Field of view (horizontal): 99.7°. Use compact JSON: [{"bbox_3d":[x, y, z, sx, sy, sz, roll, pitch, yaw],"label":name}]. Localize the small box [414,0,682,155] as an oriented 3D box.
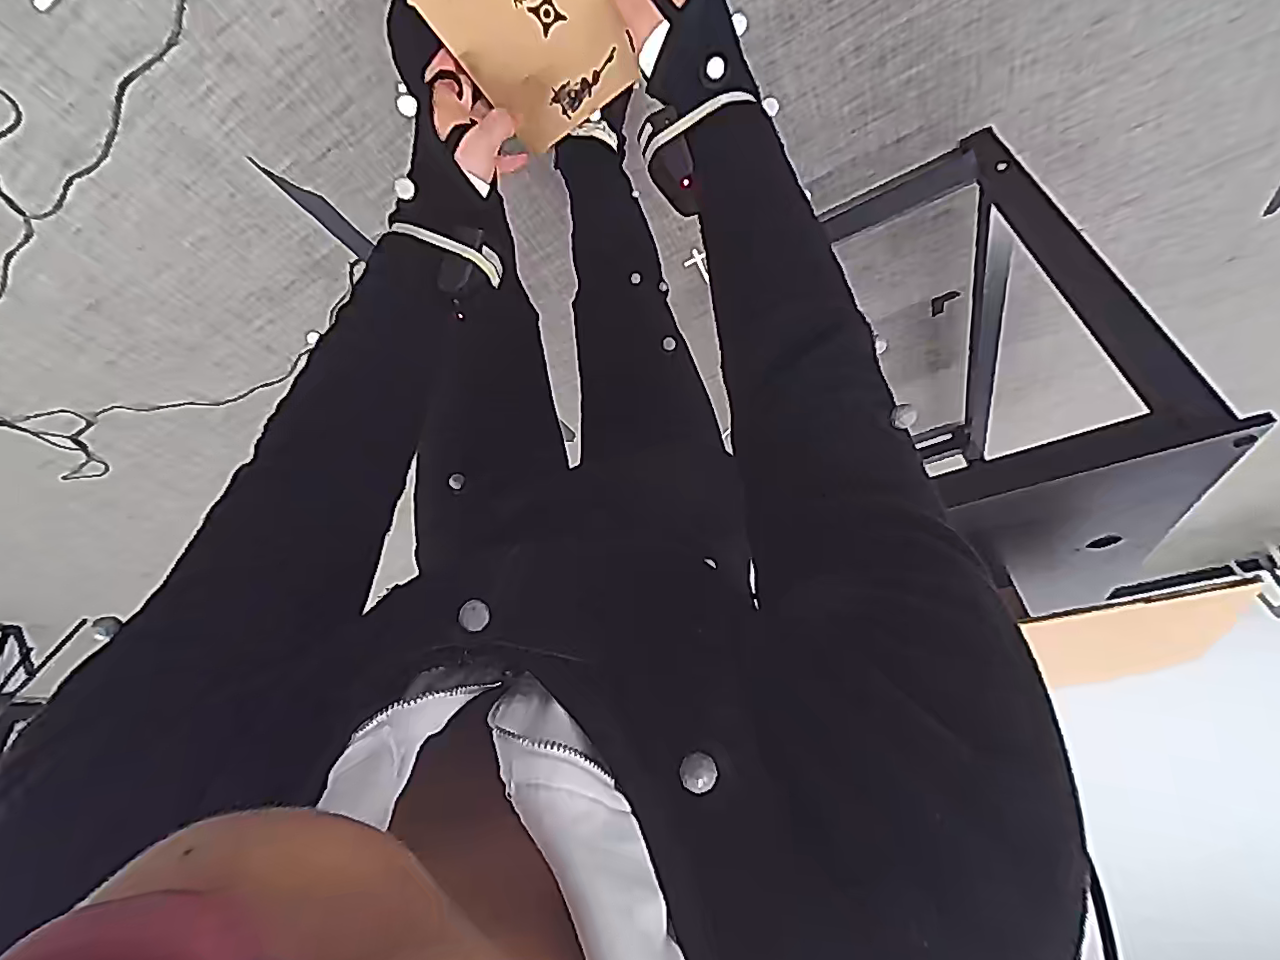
[{"bbox_3d":[-0.083,-0.437,0.463,0.168,0.176,0.179,-22,143,24],"label":"small box"}]
